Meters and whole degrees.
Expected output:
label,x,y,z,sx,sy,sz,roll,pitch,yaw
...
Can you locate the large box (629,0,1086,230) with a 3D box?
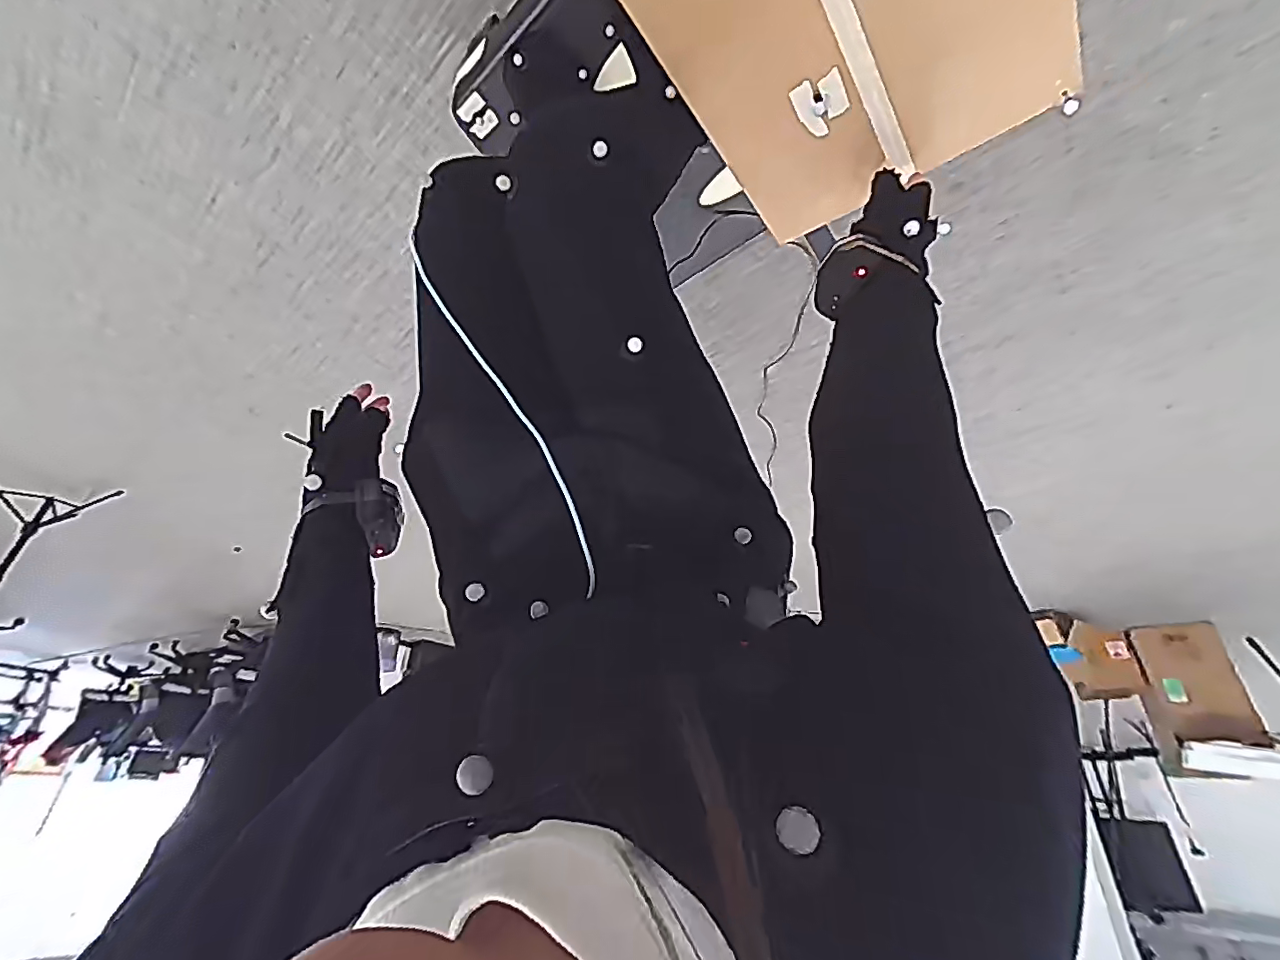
label,x,y,z,sx,sy,sz,roll,pitch,yaw
large box,0.193,-0.564,0.540,0.320,0.320,0.408,-14,147,38
